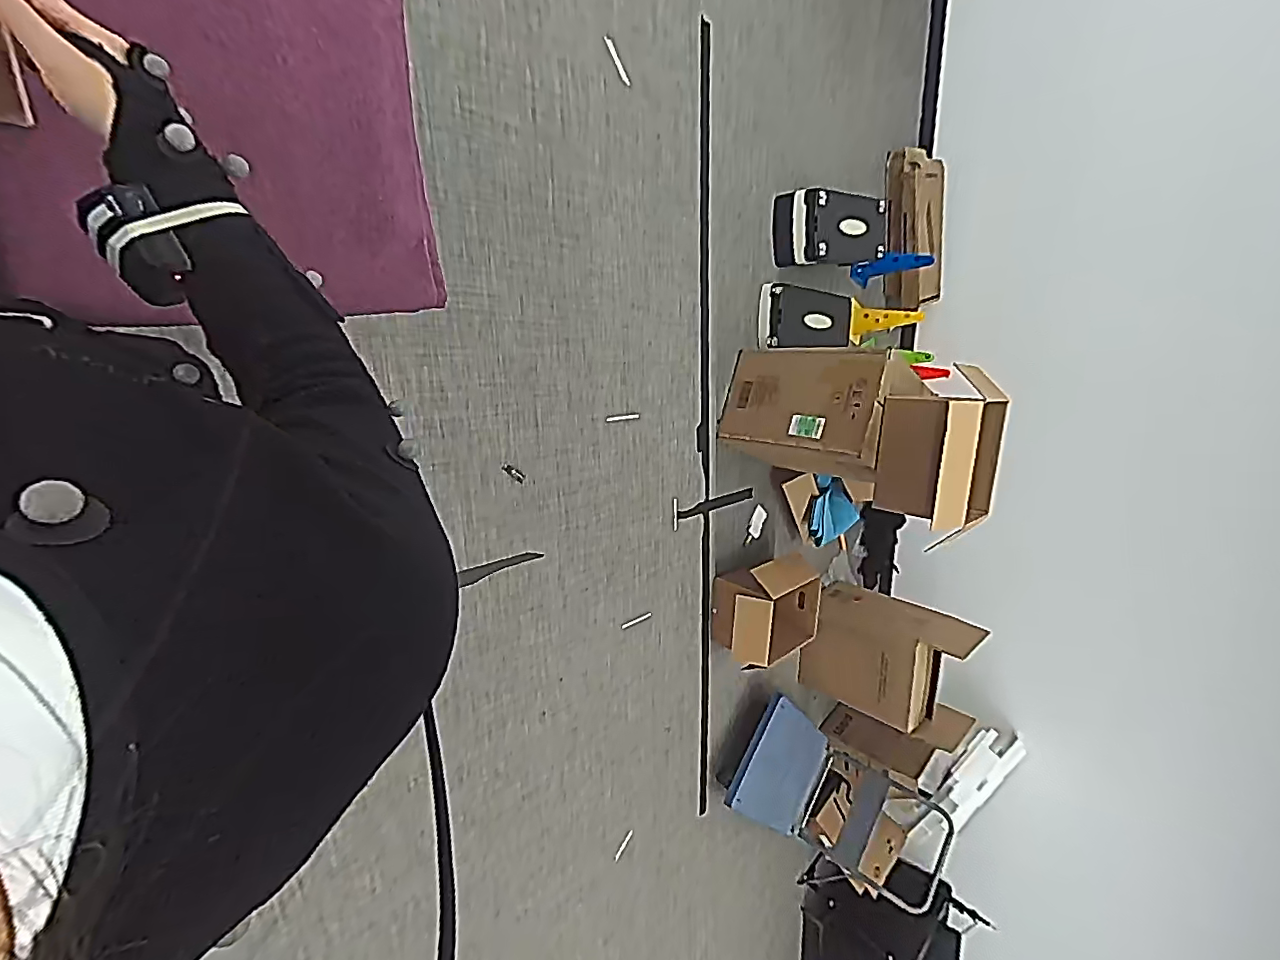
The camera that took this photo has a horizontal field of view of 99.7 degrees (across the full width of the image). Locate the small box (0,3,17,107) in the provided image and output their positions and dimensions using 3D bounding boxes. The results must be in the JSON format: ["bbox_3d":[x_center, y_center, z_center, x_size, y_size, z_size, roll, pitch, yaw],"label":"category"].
[{"bbox_3d":[-0.490,-0.332,0.293,0.179,0.176,0.168,-15,107,-42],"label":"small box"}]
